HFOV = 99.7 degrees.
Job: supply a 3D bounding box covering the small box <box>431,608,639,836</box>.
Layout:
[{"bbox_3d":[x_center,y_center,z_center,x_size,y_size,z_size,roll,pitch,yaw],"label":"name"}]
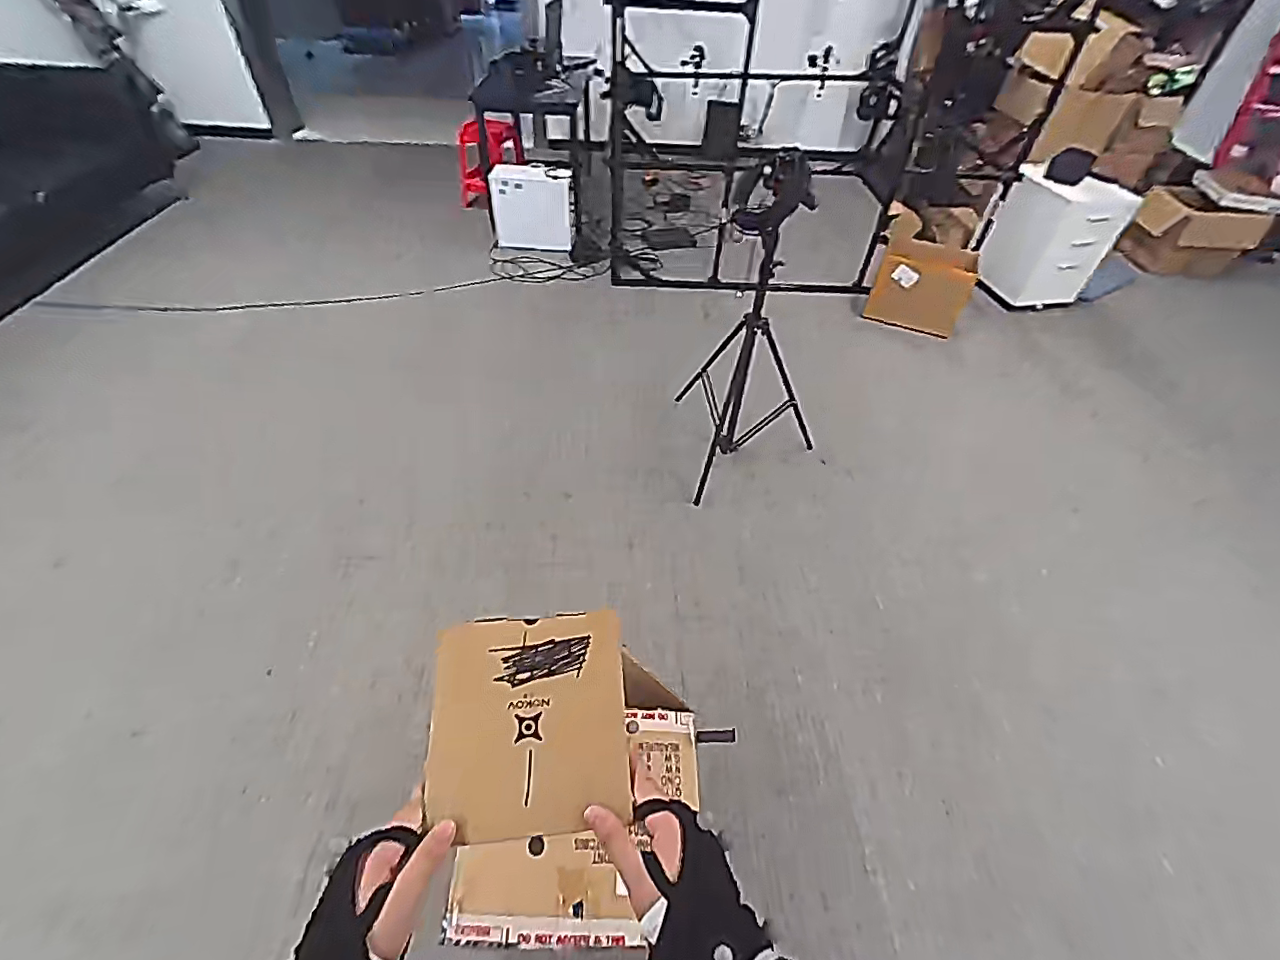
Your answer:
[{"bbox_3d":[-0.094,0.242,0.537,0.168,0.176,0.179,-3,59,-5],"label":"small box"}]
